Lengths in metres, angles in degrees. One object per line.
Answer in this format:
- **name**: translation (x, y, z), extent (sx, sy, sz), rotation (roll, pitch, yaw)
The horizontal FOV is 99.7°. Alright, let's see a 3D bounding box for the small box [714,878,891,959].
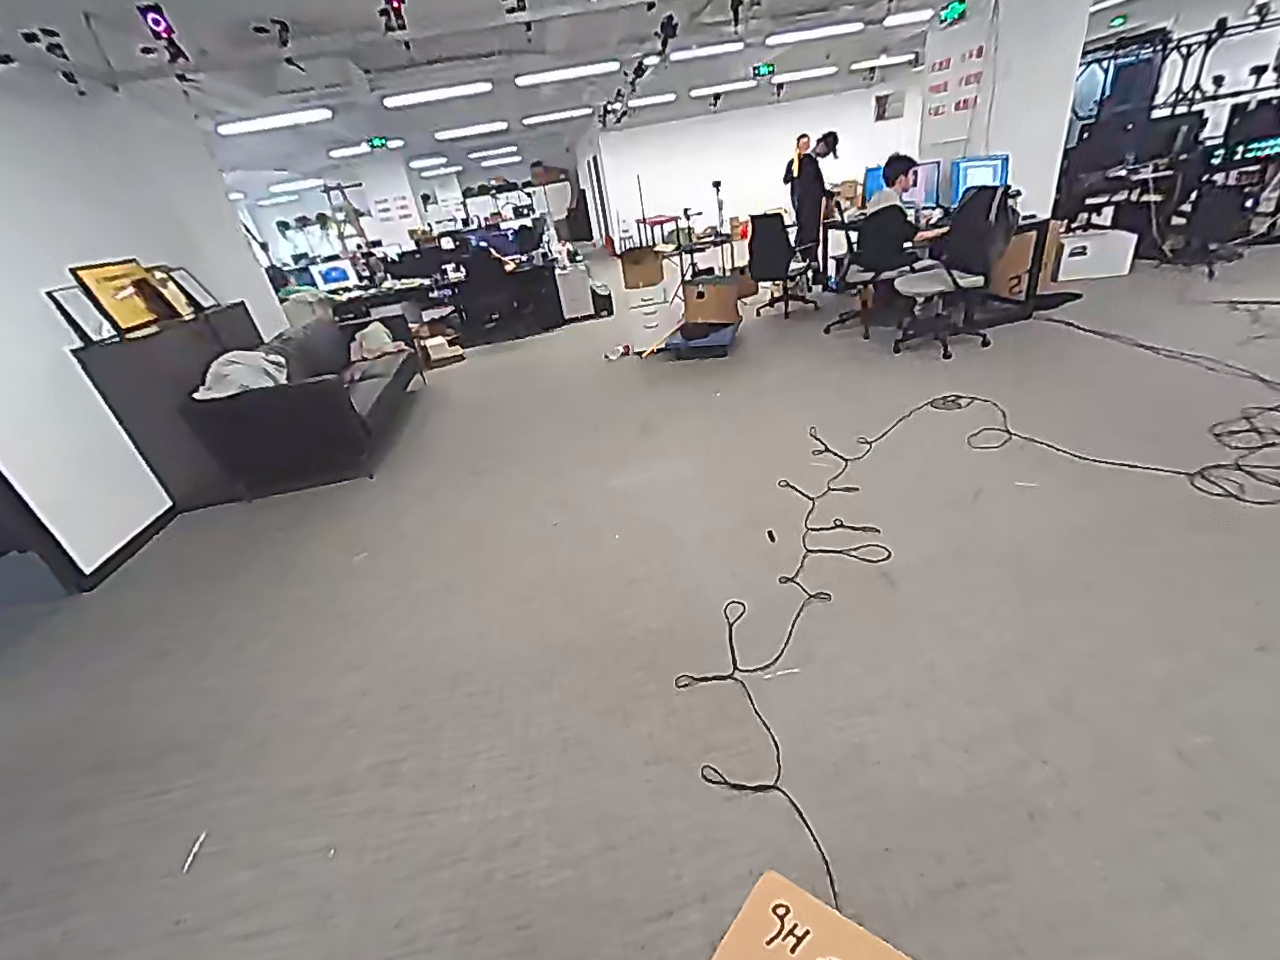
- **small box**: translation (0.106, 0.377, 0.277), extent (0.168, 0.176, 0.179), rotation (4, 30, 44)
